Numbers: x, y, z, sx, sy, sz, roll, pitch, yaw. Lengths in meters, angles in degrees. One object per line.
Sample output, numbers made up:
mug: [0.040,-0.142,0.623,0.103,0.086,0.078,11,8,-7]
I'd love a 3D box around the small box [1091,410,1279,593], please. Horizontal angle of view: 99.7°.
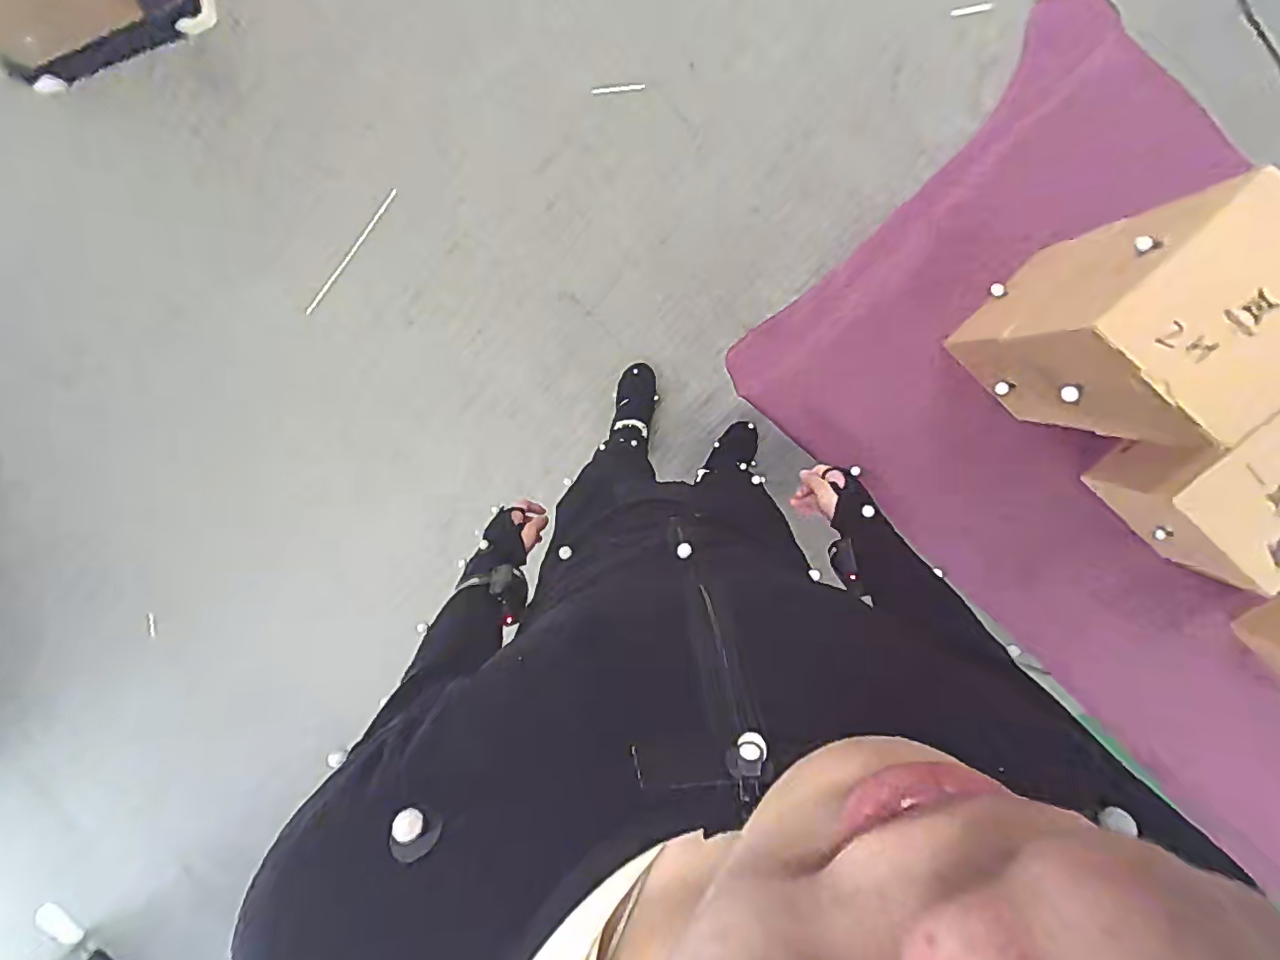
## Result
small box: [0.762,0.007,0.702,0.179,0.176,0.168,43,103,-1]

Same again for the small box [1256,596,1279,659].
small box: [0.997,0.225,0.711,0.168,0.176,0.179,44,103,-2]

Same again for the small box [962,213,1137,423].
small box: [0.552,-0.194,0.692,0.168,0.176,0.179,43,104,-1]

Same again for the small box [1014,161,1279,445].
small box: [0.529,-0.160,0.533,0.168,0.176,0.179,43,104,-1]
